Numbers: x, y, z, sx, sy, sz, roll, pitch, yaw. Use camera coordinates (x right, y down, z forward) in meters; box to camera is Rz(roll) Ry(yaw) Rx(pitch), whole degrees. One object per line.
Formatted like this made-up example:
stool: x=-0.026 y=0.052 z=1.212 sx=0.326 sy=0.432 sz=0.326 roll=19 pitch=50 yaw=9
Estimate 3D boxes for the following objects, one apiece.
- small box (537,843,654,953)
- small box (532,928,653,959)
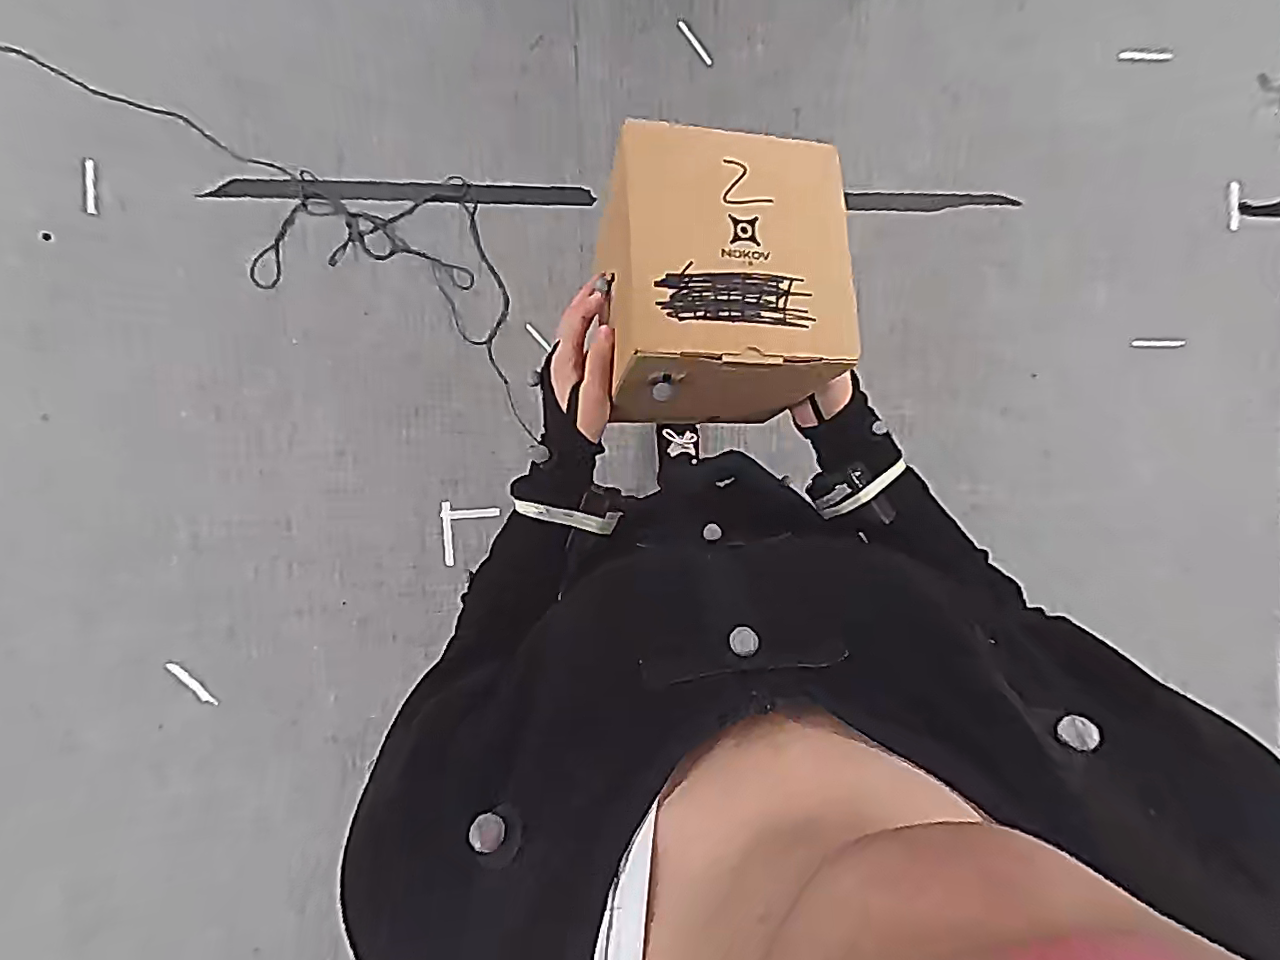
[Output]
small box: x=-0.068 y=0.693 z=0.831 sx=0.168 sy=0.176 sz=0.179 roll=1 pitch=91 yaw=-3
small box: x=-0.060 y=0.709 z=0.669 sx=0.168 sy=0.176 sz=0.179 roll=1 pitch=92 yaw=-4
